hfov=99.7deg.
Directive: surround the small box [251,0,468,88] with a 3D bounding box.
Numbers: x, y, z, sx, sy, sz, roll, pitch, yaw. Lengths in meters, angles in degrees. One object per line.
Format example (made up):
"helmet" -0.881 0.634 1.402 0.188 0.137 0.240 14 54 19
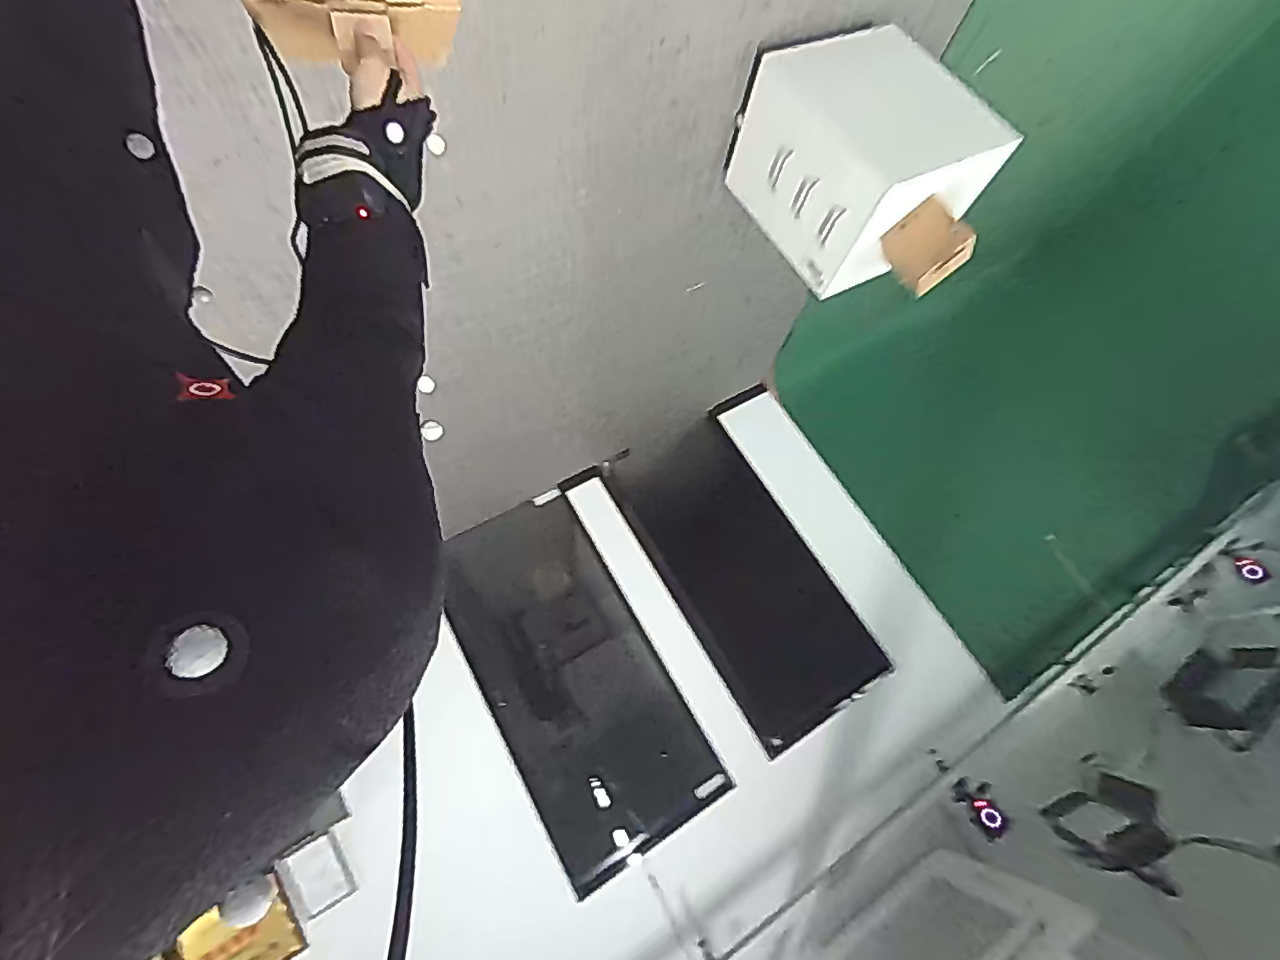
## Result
"small box" -0.263 -0.480 0.479 0.168 0.176 0.179 -14 115 -21
